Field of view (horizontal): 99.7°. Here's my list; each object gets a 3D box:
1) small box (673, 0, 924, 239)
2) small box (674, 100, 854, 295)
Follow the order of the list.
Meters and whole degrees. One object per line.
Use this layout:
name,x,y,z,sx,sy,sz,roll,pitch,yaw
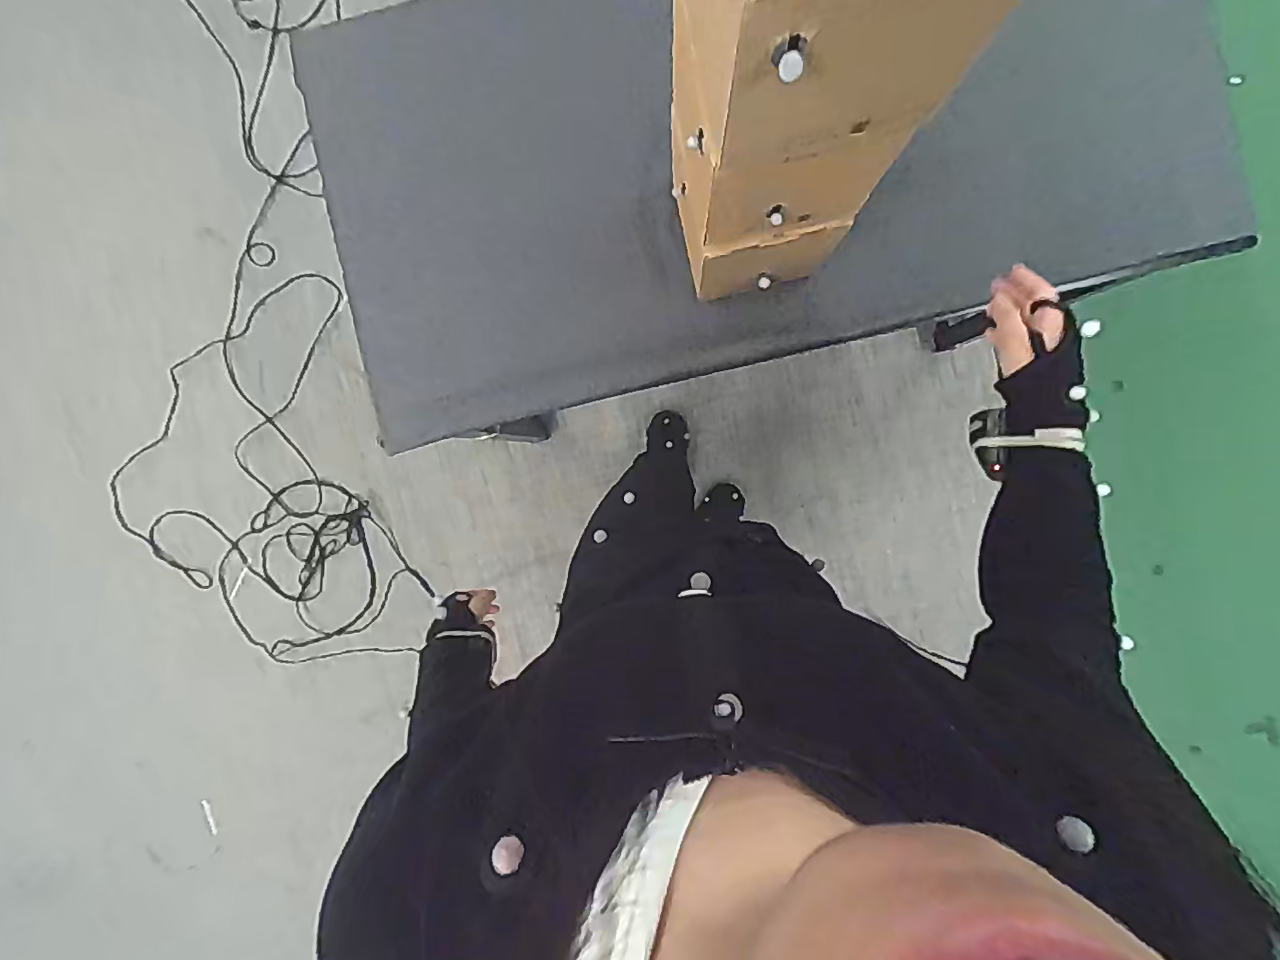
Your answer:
small box,0.124,-0.352,0.492,0.168,0.176,0.179,-11,92,4
small box,0.136,-0.349,0.653,0.168,0.176,0.179,-12,91,5
